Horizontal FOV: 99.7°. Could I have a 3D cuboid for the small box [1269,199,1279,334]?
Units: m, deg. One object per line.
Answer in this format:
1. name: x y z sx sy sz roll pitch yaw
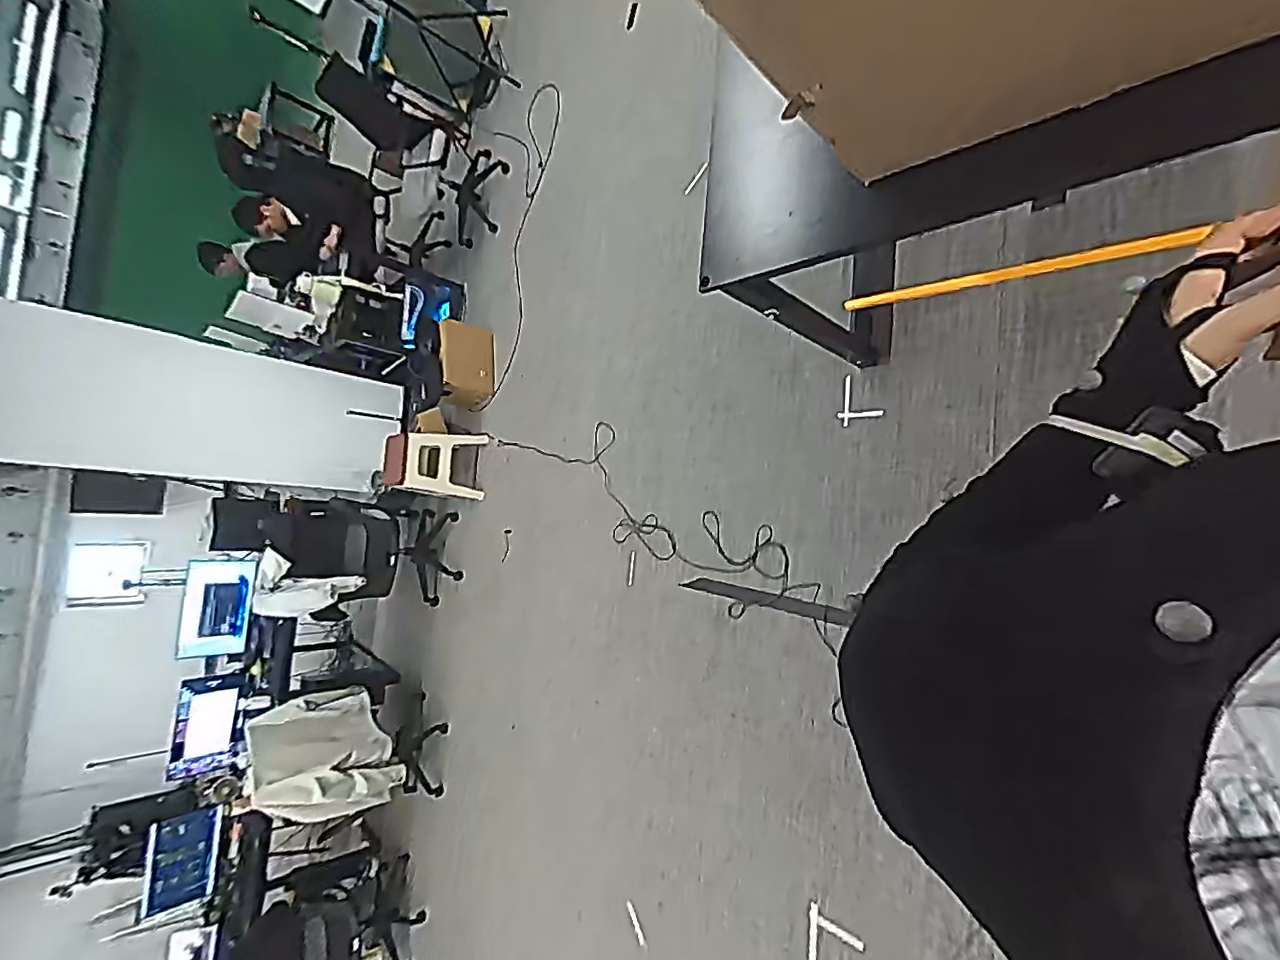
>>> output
1. small box: 0.530 -0.191 0.337 0.168 0.176 0.179 4 86 45
